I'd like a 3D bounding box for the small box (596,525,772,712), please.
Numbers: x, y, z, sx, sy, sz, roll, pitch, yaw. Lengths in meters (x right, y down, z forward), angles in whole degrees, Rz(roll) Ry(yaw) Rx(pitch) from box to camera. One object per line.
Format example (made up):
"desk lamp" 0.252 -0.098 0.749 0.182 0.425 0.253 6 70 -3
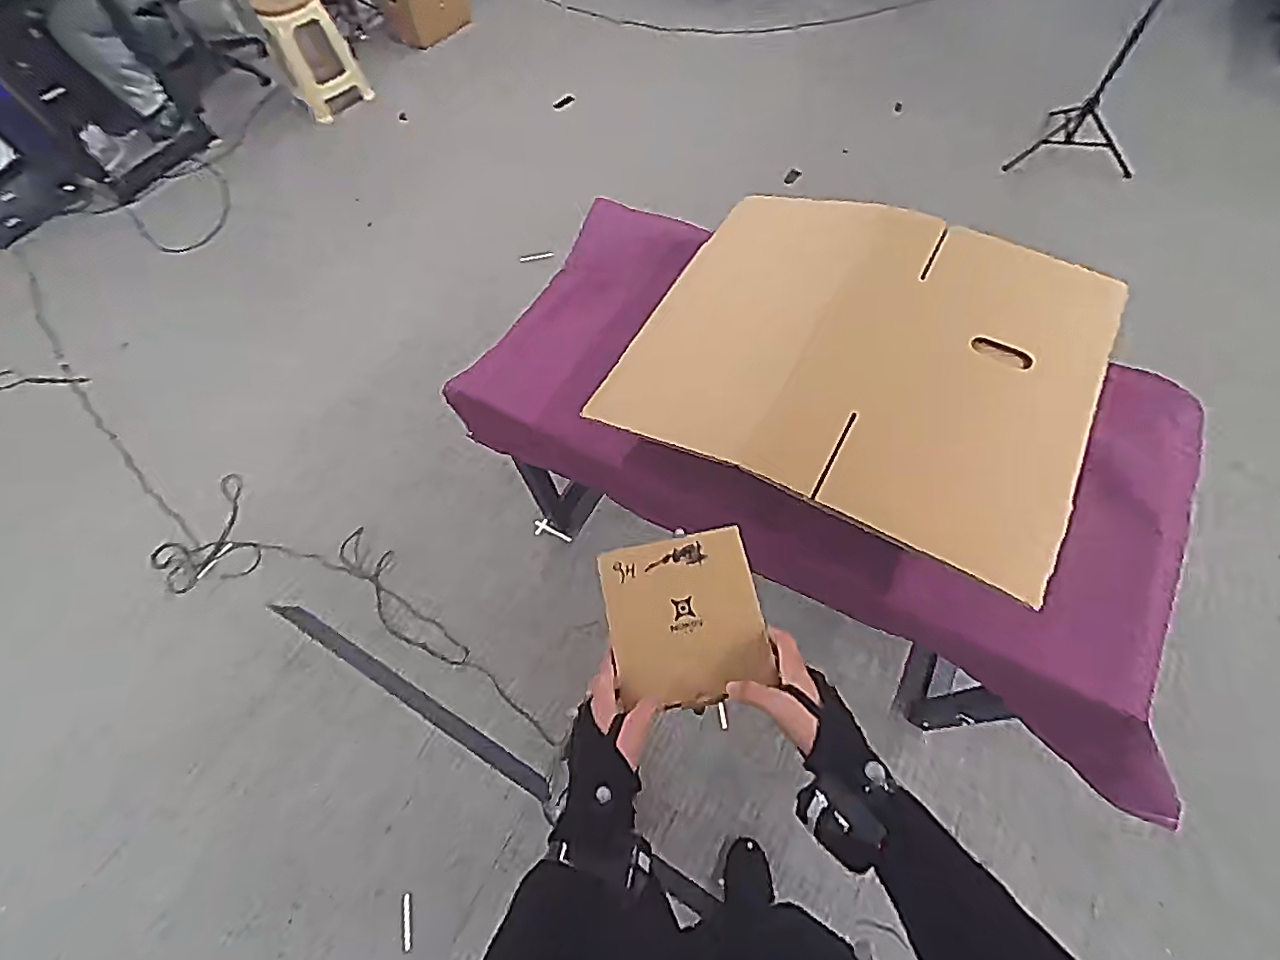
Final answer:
"small box" 0.048 0.171 0.663 0.168 0.176 0.179 -11 70 -2
